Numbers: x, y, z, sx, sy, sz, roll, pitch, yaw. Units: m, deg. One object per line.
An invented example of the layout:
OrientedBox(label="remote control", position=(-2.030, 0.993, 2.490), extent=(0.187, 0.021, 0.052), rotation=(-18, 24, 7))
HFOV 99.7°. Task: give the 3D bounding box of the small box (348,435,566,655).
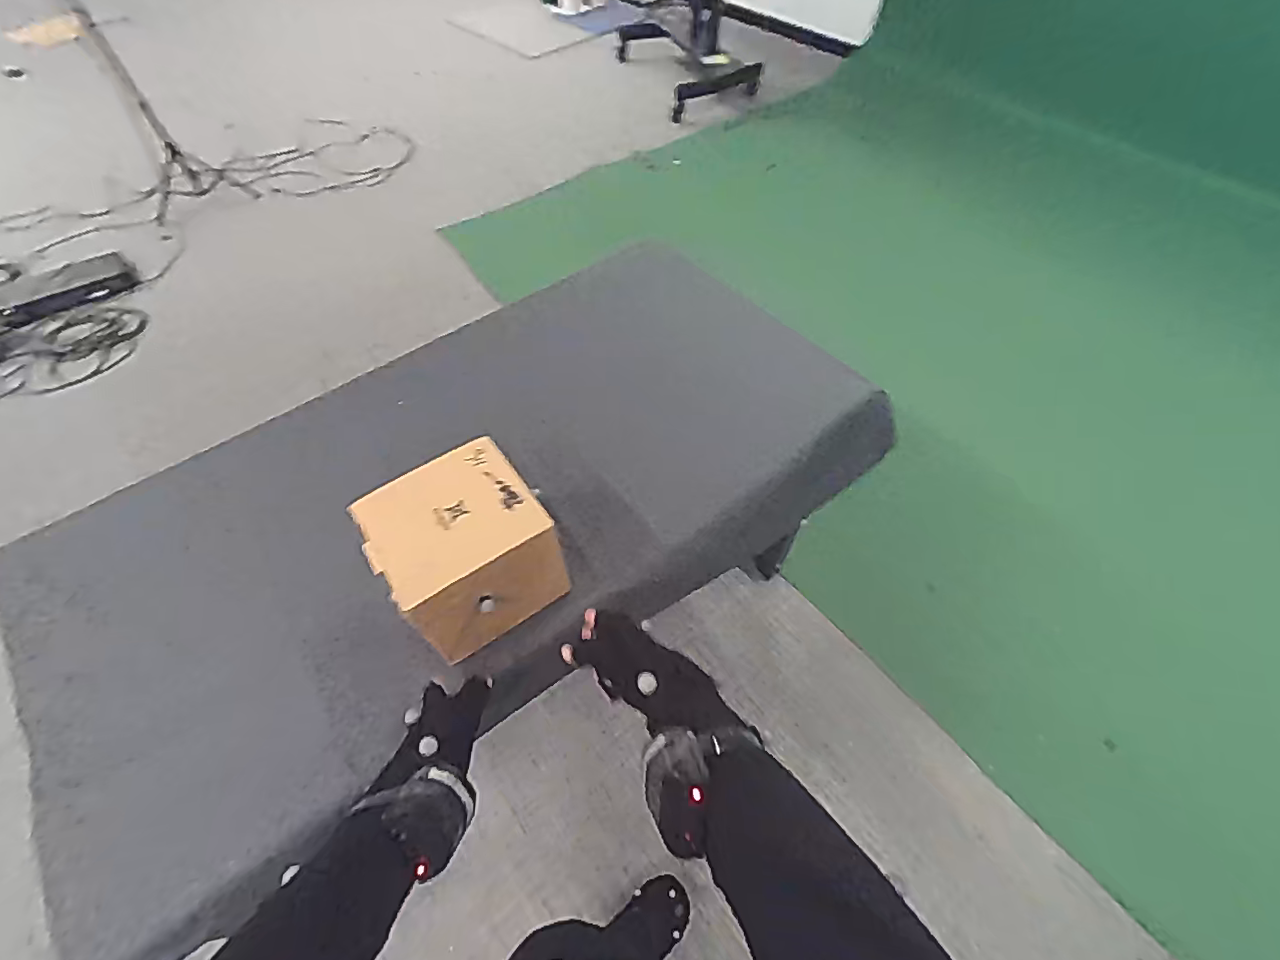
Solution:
OrientedBox(label="small box", position=(-0.213, 0.084, 0.665), extent=(0.179, 0.176, 0.168), rotation=(-32, 59, -18))
